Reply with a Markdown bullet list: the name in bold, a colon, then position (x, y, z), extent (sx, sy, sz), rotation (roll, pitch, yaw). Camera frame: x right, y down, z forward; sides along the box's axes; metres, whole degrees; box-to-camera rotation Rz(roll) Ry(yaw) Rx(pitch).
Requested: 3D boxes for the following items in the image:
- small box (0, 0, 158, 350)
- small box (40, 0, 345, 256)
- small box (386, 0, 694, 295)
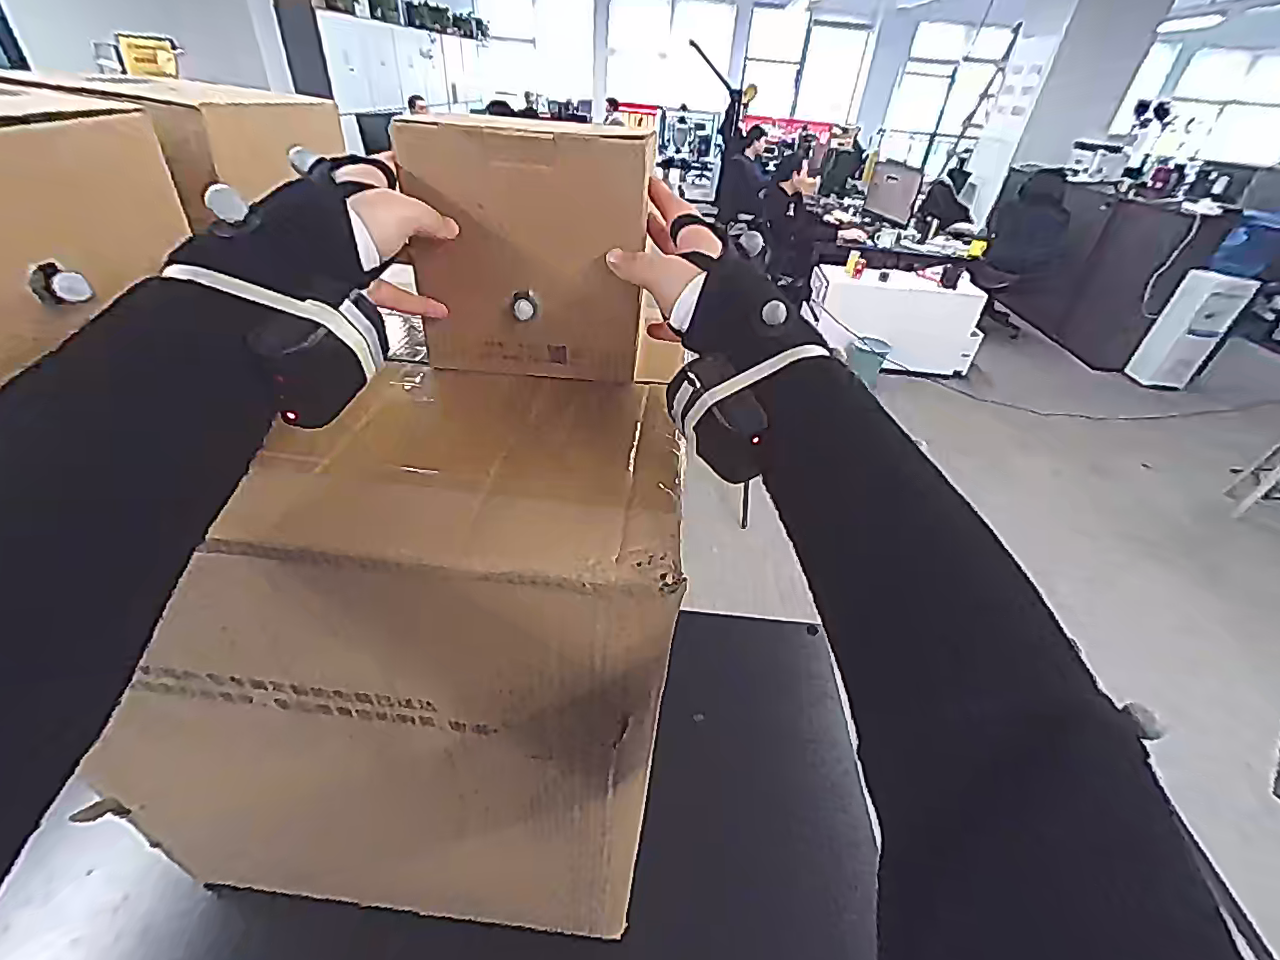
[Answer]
- **small box**: position (-0.347, -0.141, 0.203), extent (0.168, 0.176, 0.179), rotation (5, 39, -4)
- **small box**: position (-0.341, -0.262, 0.369), extent (0.179, 0.176, 0.168), rotation (8, 36, 1)
- **small box**: position (-0.055, -0.240, 0.373), extent (0.168, 0.176, 0.179), rotation (4, 34, 1)
